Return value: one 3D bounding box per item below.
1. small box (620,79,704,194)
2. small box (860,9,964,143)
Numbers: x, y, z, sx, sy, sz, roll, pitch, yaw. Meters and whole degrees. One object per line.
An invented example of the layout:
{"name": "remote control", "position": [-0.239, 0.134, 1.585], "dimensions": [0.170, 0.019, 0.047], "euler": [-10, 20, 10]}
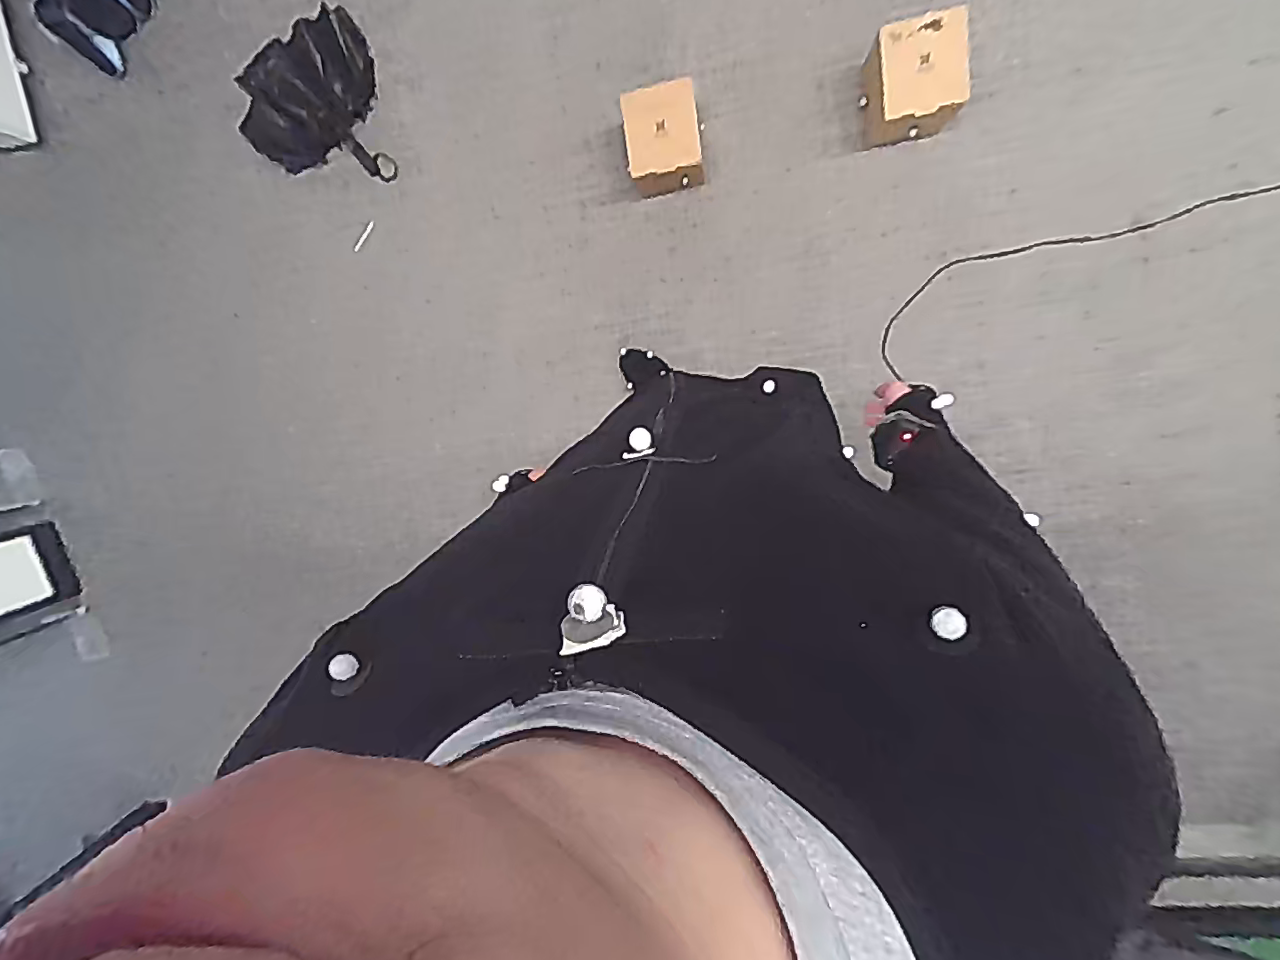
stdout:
{"name": "small box", "position": [0.059, -0.807, 1.296], "dimensions": [0.168, 0.176, 0.179], "euler": [-8, 101, 10]}
{"name": "small box", "position": [0.592, -0.870, 1.190], "dimensions": [0.168, 0.176, 0.179], "euler": [-7, 103, 11]}
